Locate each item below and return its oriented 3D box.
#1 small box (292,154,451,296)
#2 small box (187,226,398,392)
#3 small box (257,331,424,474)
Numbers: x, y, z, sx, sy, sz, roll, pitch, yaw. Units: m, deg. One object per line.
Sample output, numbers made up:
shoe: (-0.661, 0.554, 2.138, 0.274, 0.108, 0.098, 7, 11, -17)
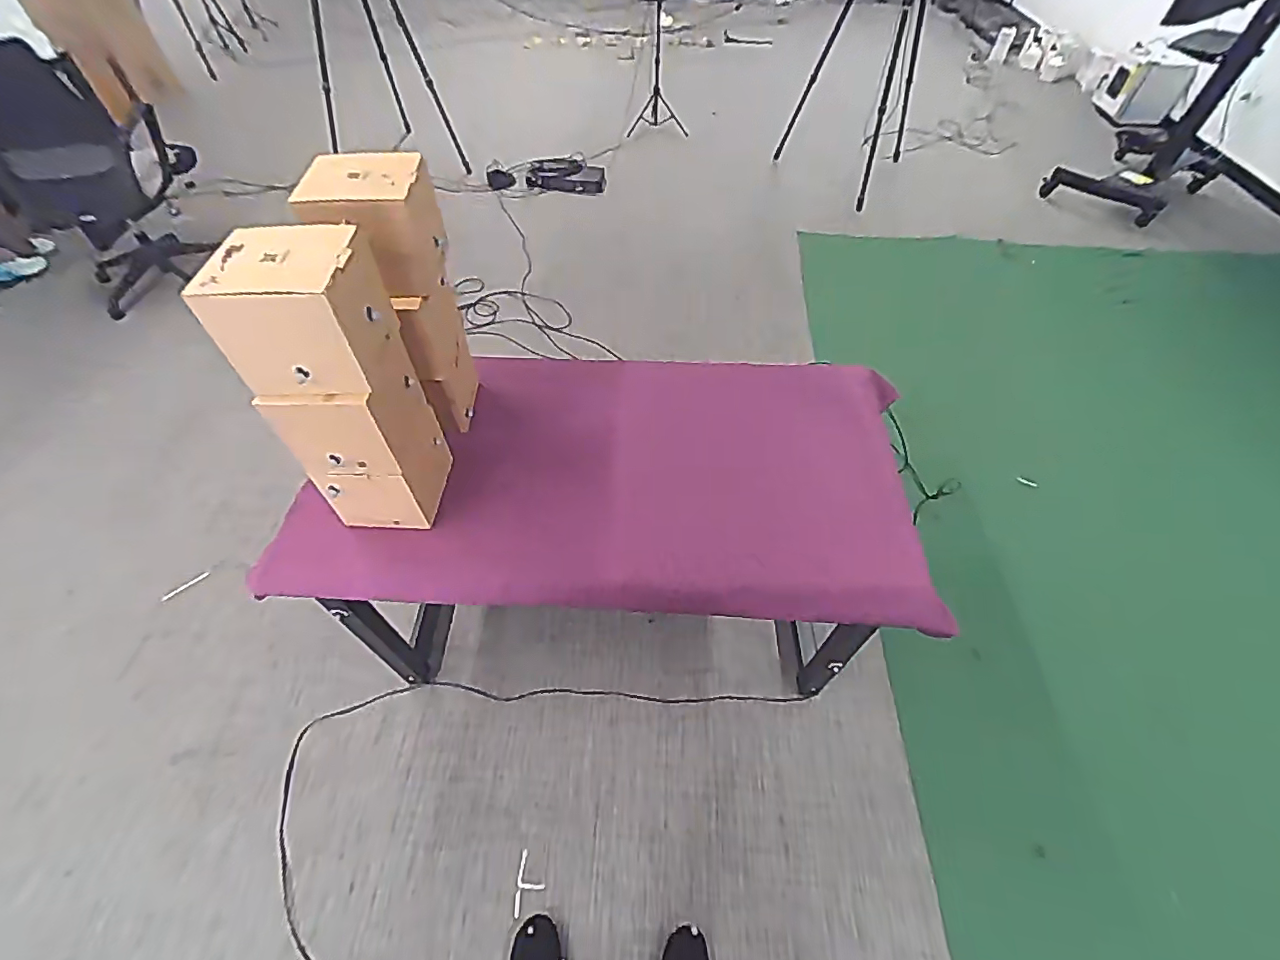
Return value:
small box: (-0.441, -0.429, 0.921, 0.179, 0.176, 0.168, -2, 53, -3)
small box: (-0.473, -0.241, 0.776, 0.179, 0.176, 0.168, -1, 52, -2)
small box: (-0.476, -0.130, 0.897, 0.168, 0.176, 0.179, 0, 52, -1)
